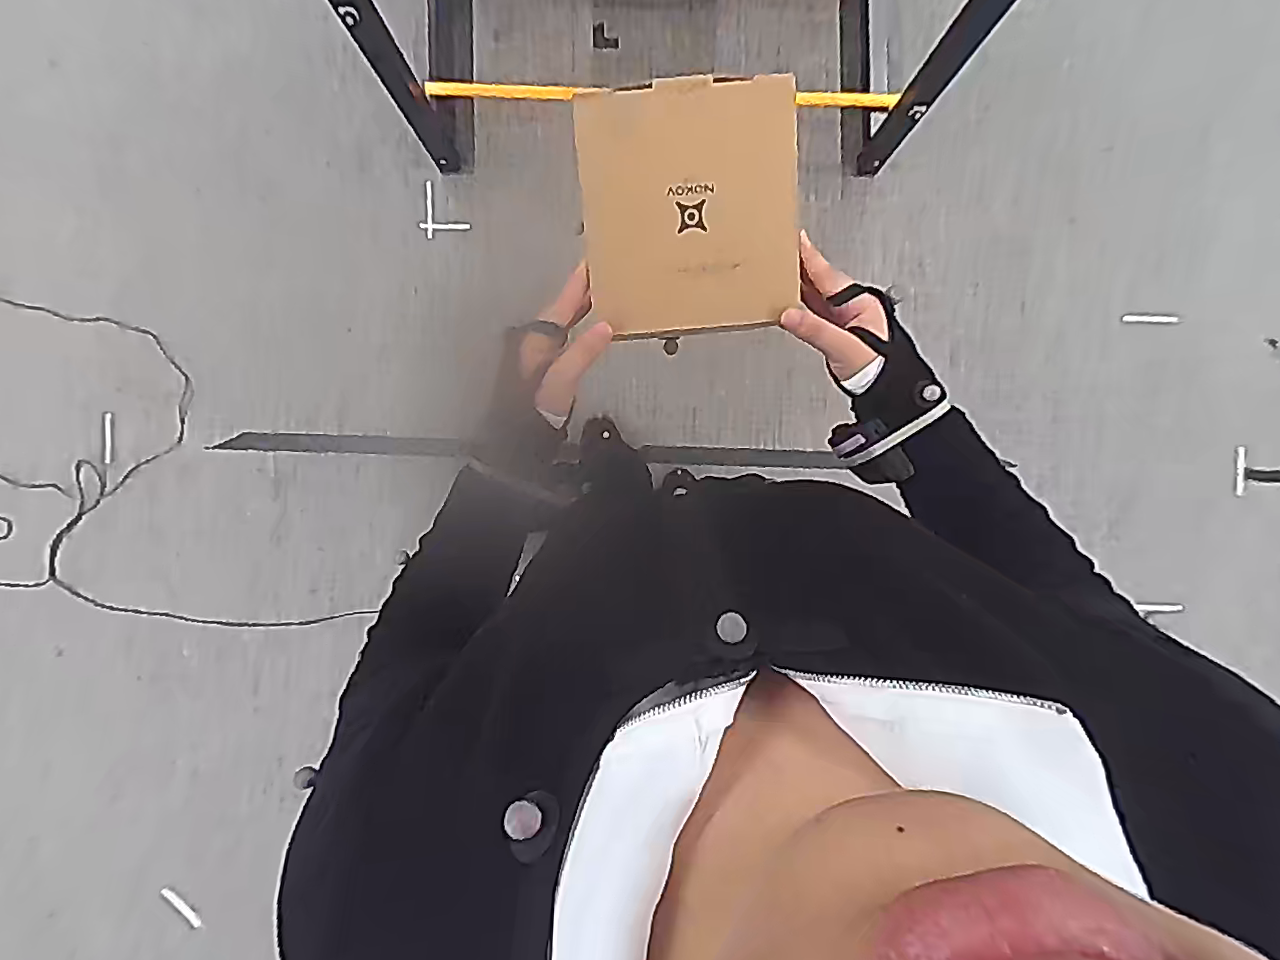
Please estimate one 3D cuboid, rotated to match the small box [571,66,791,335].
[{"bbox_3d":[0.031,-0.232,0.493,0.168,0.176,0.179,-5,103,0],"label":"small box"}]
